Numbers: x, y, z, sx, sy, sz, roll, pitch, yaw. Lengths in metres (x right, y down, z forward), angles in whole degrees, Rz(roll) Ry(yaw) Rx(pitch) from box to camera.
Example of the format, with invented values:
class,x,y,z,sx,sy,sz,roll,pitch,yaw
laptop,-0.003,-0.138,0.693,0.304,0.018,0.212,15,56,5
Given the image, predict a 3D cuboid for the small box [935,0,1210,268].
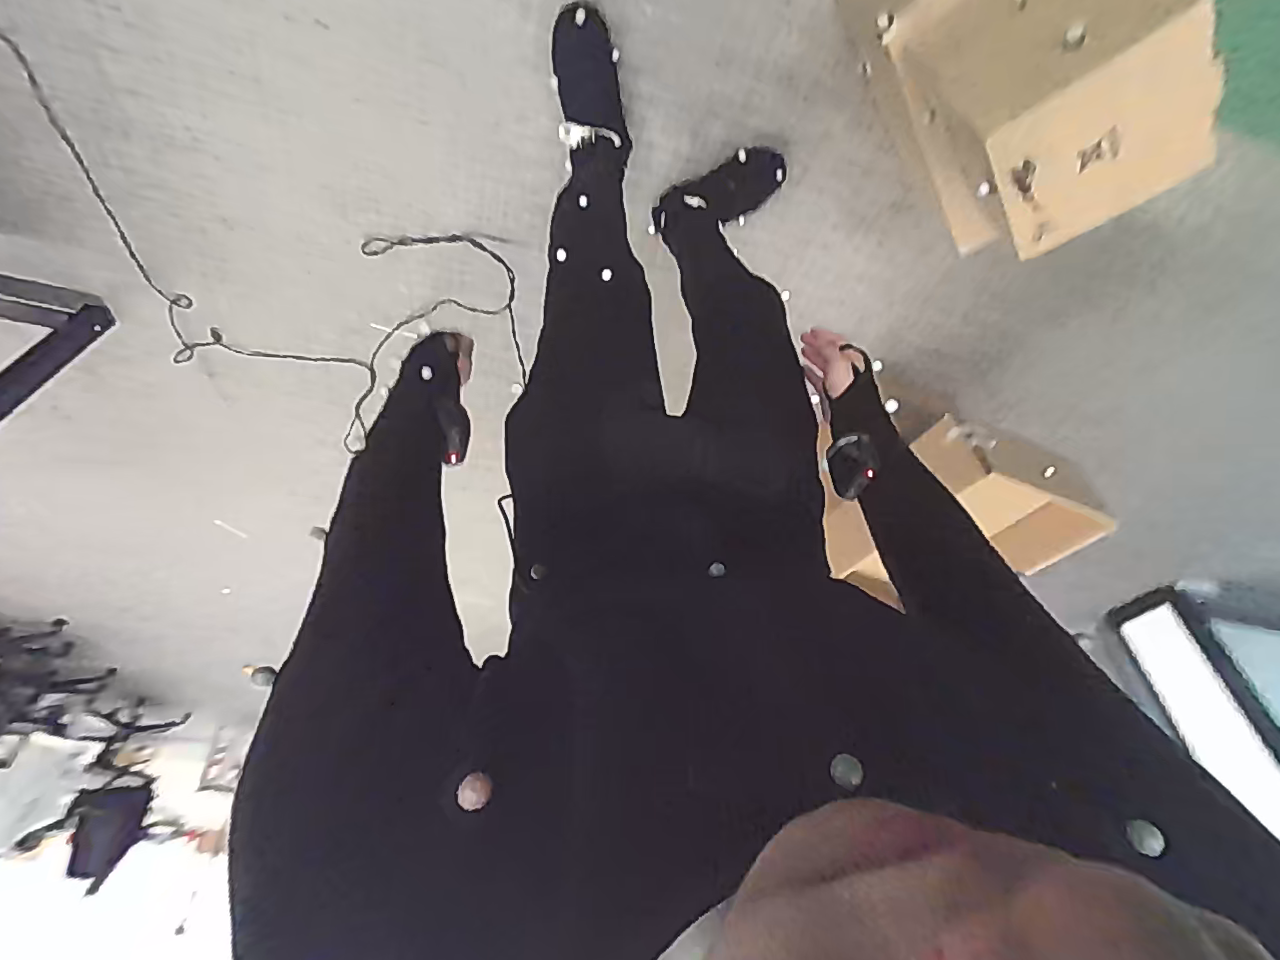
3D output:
class,x,y,z,sx,sy,sz,roll,pitch,yaw
small box,0.462,-0.383,0.595,0.179,0.176,0.168,-27,132,30
